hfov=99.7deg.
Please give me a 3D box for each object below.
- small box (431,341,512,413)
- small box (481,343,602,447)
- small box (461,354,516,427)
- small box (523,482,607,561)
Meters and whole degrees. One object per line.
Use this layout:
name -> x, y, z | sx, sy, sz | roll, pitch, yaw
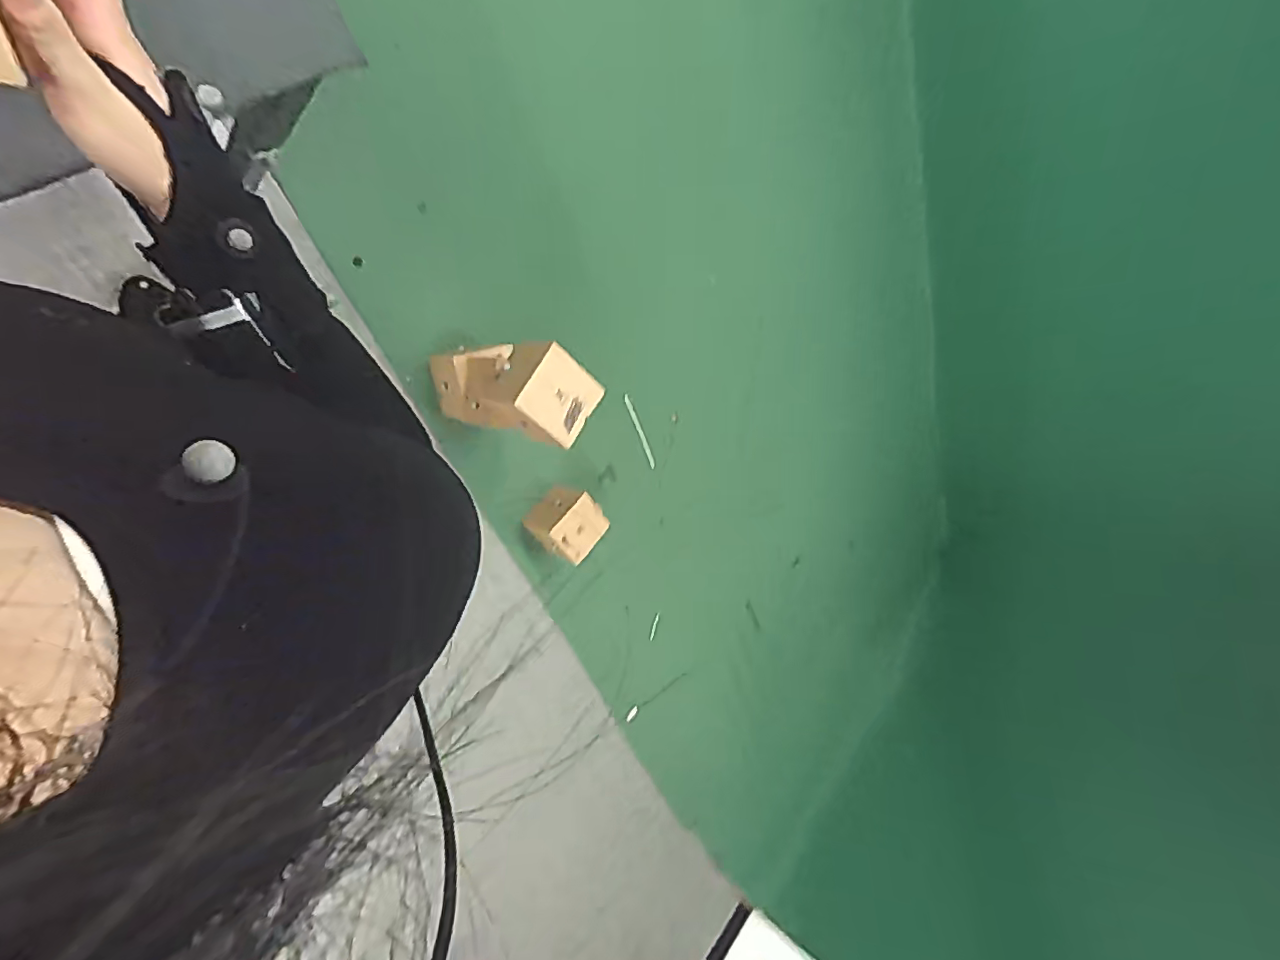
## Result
small box -> -0.449, -0.280, 1.472 | 0.179, 0.176, 0.168 | -25, 117, -36
small box -> -0.228, -0.201, 1.244 | 0.179, 0.176, 0.168 | 41, 74, -40
small box -> -0.335, -0.223, 1.368 | 0.179, 0.176, 0.168 | 1, 101, -43
small box -> -0.246, 0.128, 1.755 | 0.179, 0.176, 0.168 | -50, 129, -23
